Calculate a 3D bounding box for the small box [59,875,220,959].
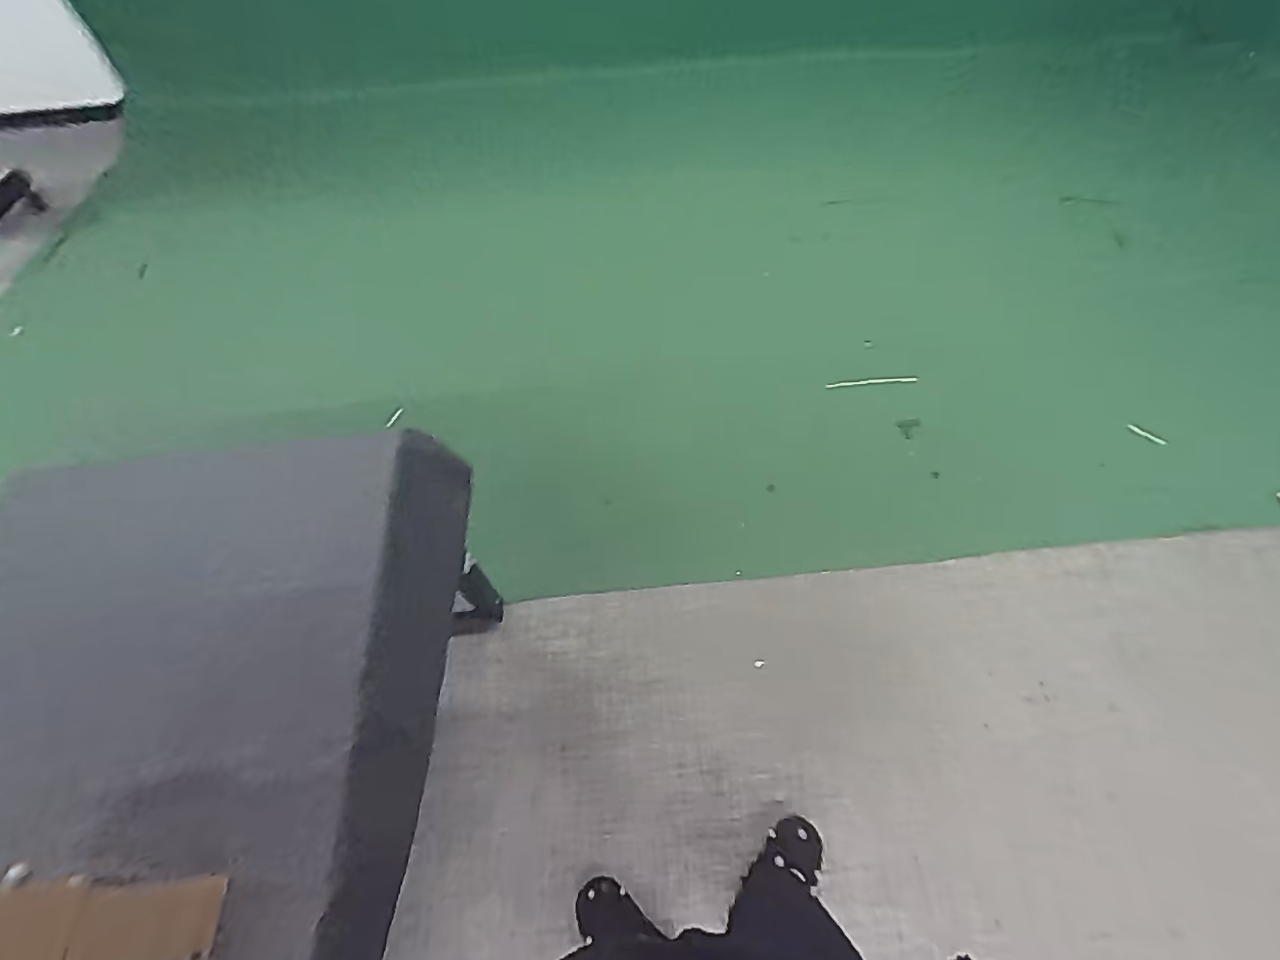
[{"bbox_3d":[-0.503,0.440,0.445,0.179,0.176,0.168,-6,57,-2],"label":"small box"}]
